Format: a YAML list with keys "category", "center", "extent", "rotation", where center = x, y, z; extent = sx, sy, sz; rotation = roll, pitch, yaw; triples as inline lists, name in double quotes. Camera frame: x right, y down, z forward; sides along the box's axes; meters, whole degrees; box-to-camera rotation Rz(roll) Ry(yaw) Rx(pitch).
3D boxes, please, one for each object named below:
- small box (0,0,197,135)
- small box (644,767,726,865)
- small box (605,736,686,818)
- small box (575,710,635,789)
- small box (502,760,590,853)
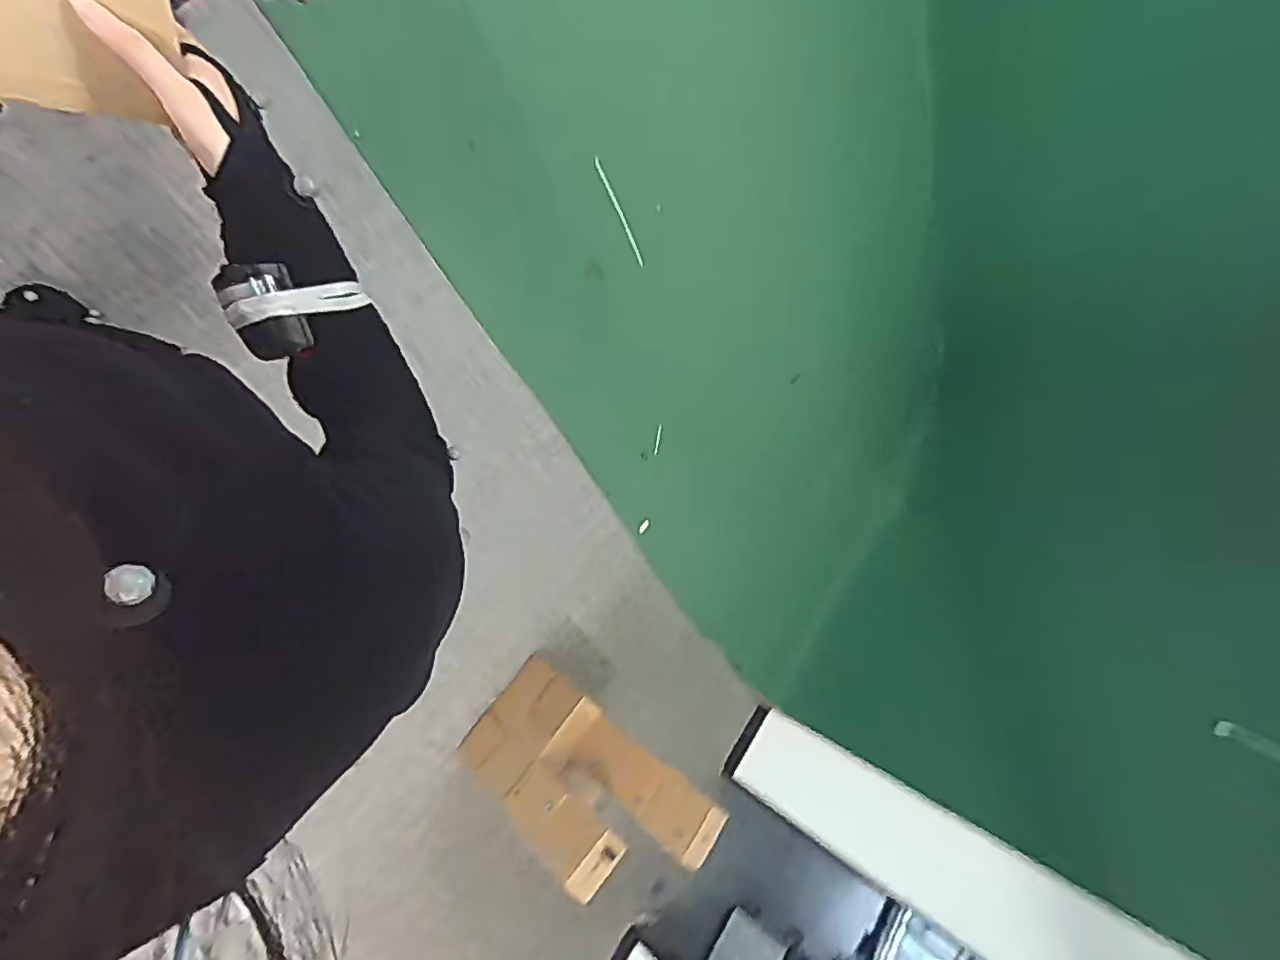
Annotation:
- category: "small box"
  center: [-0.389, -0.325, 0.312]
  extent: [0.179, 0.176, 0.168]
  rotation: [-14, 135, -38]
- category: "small box"
  center: [0.131, 1.028, 1.659]
  extent: [0.179, 0.176, 0.168]
  rotation: [-51, 136, -21]
- category: "small box"
  center: [0.018, 0.976, 1.767]
  extent: [0.179, 0.176, 0.168]
  rotation: [-51, 136, -19]
- category: "small box"
  center: [-0.102, 0.939, 1.870]
  extent: [0.179, 0.176, 0.168]
  rotation: [-53, 136, -20]
- category: "small box"
  center: [-0.295, 1.015, 1.692]
  extent: [0.168, 0.176, 0.179]
  rotation: [-47, 133, -23]
